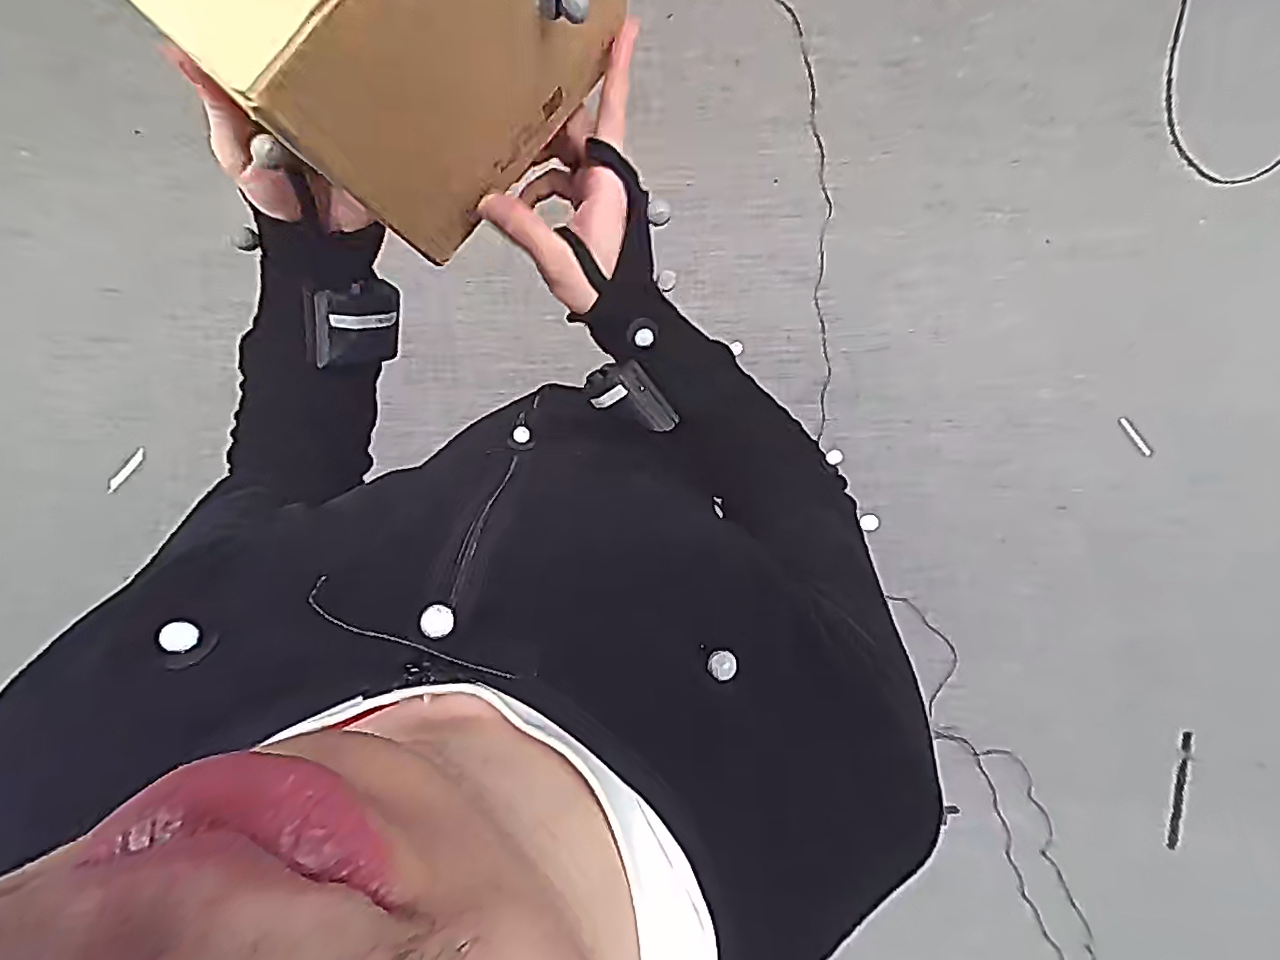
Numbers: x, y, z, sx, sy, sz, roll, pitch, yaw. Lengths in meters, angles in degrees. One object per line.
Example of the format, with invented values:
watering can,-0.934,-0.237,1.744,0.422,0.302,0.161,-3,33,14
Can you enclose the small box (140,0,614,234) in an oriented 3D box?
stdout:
small box,-0.122,-0.235,0.228,0.179,0.176,0.168,40,93,-6
